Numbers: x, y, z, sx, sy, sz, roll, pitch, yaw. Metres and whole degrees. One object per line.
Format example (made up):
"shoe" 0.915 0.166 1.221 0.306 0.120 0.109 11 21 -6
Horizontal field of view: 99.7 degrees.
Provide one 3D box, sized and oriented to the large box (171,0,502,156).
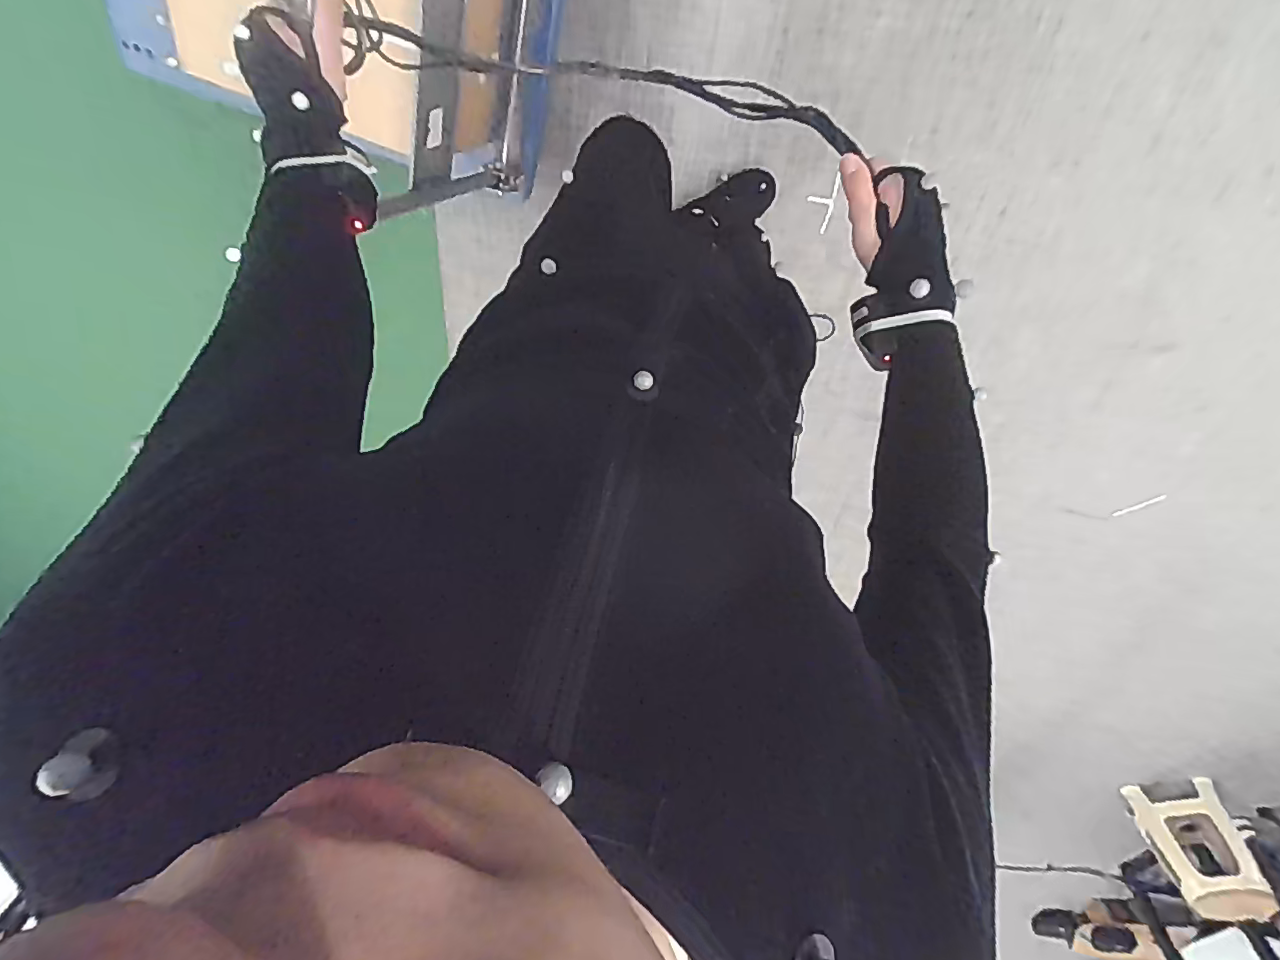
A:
"large box" -0.480 -0.800 0.911 0.408 0.320 0.320 18 127 -6
